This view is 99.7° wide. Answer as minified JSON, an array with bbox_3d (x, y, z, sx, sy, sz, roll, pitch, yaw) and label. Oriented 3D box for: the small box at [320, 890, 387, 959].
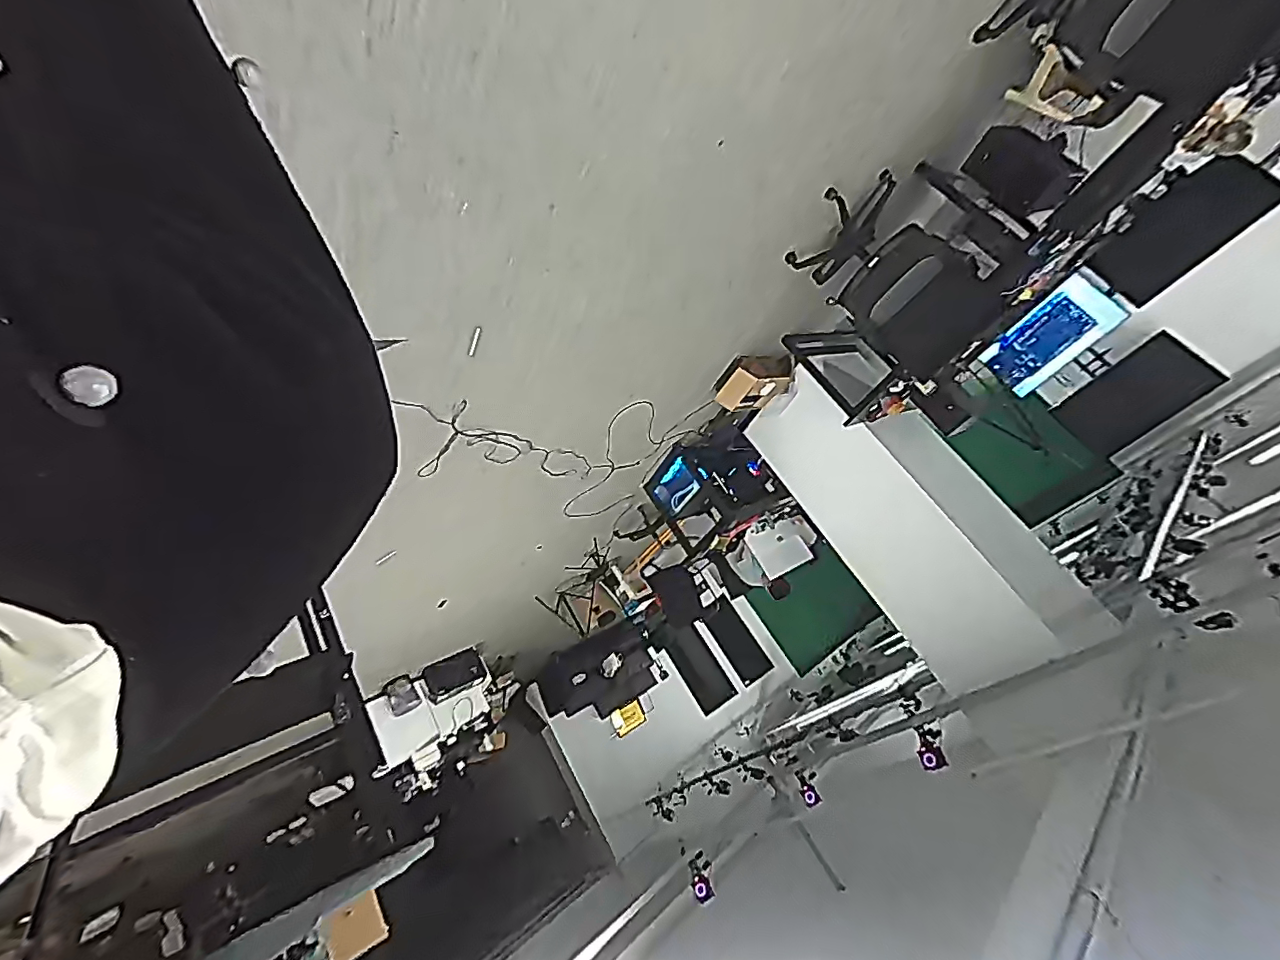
[{"bbox_3d":[-1.027,1.612,1.928,0.179,0.176,0.168,-16,152,-38],"label":"small box"}]
